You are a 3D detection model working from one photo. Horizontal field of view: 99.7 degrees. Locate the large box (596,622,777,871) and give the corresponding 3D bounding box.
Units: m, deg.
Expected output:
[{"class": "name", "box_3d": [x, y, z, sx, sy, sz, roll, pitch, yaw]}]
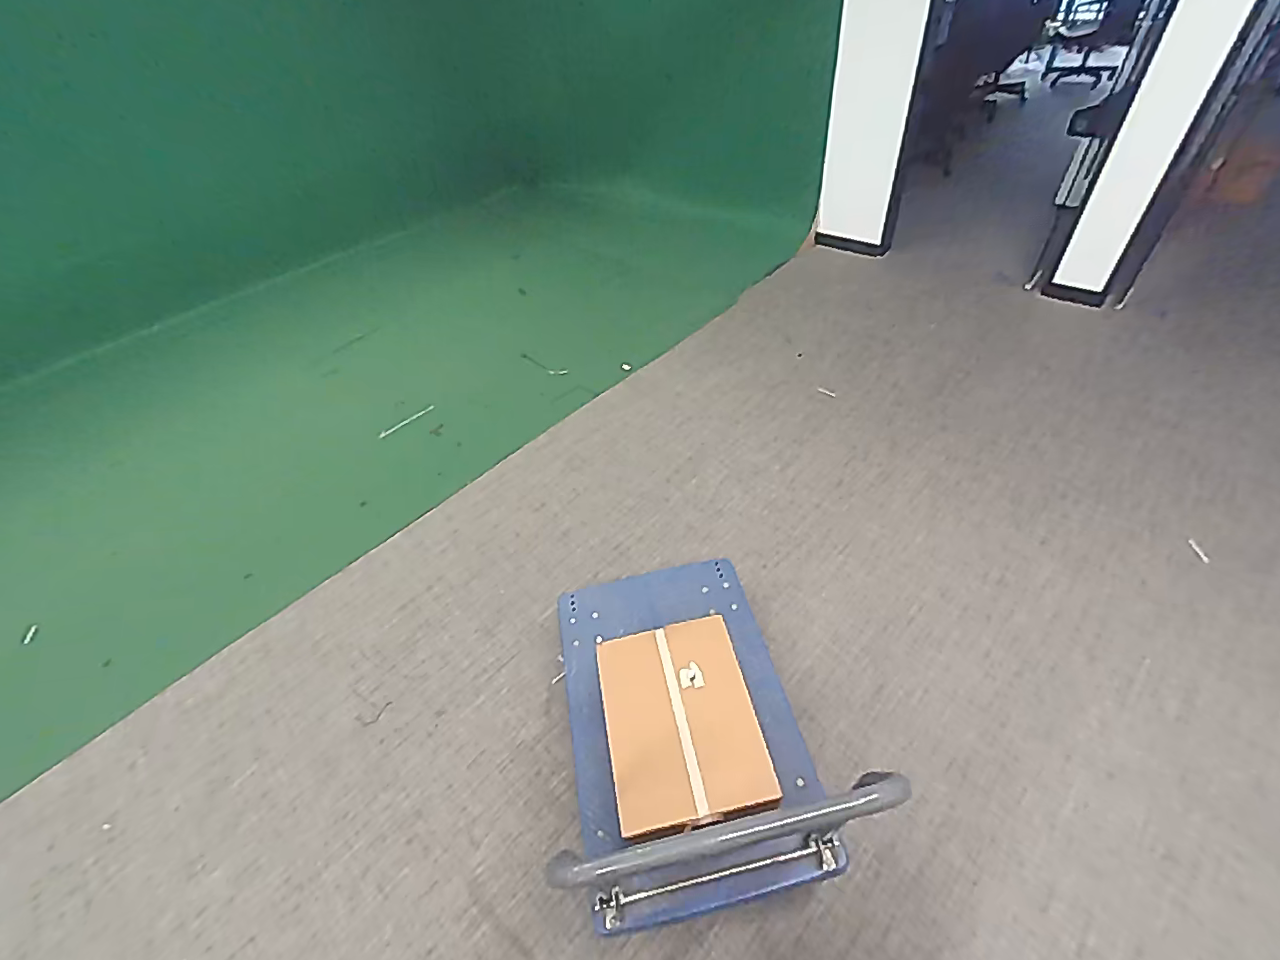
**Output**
[{"class": "large box", "box_3d": [0.099, 0.615, 1.268, 0.320, 0.320, 0.408, -12, 44, -3]}]
